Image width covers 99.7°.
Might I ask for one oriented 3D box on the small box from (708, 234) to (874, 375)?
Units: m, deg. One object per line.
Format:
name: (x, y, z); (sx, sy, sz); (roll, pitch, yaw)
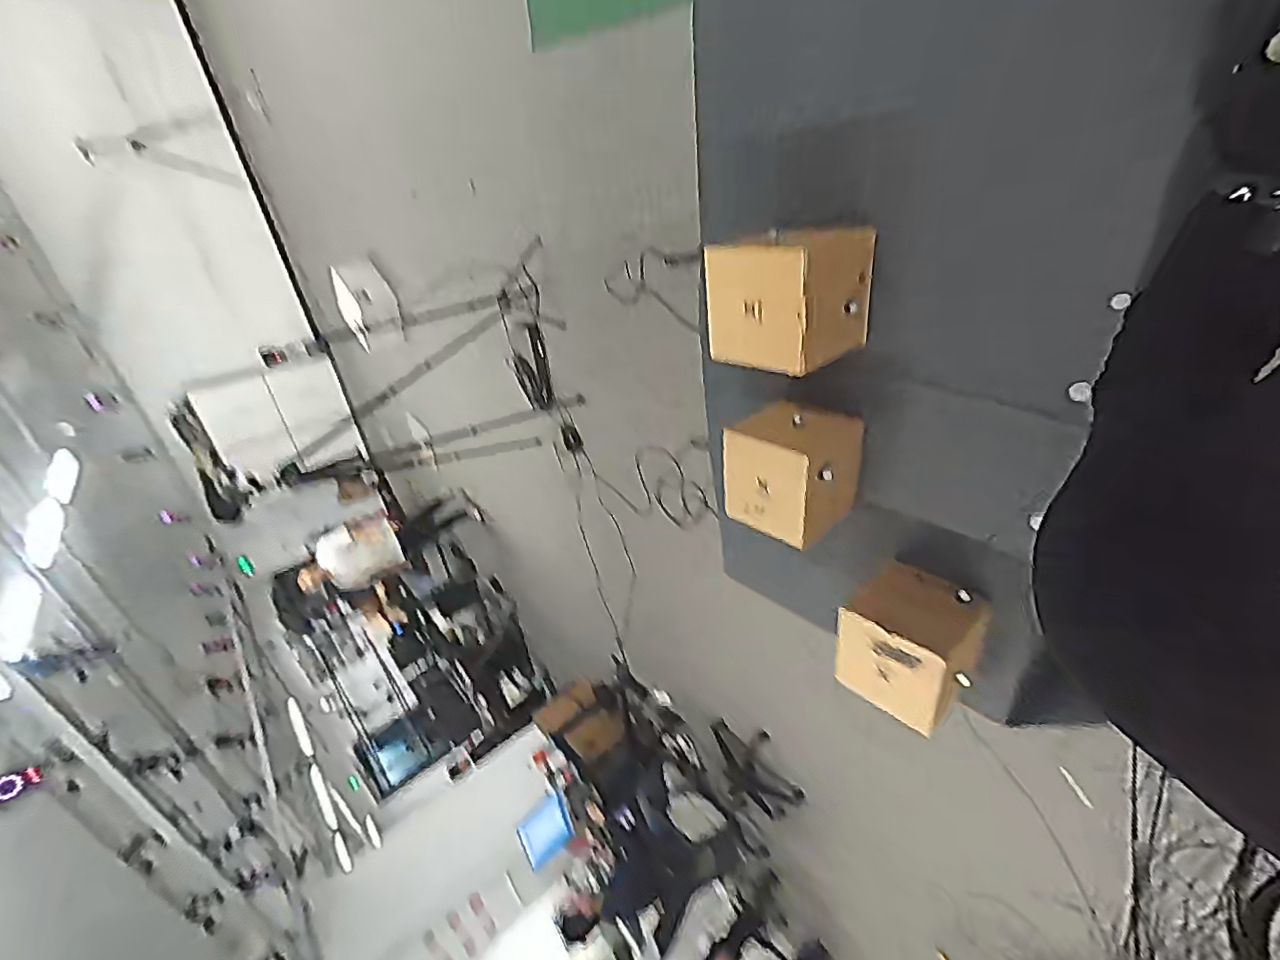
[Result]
small box: (0.225, -0.273, 0.823); (0.179, 0.176, 0.168); (23, 131, 44)

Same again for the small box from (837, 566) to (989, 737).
small box: (0.452, 0.273, 0.902); (0.168, 0.176, 0.179); (25, 132, 45)

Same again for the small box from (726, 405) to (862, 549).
small box: (0.268, -0.015, 0.947); (0.168, 0.176, 0.179); (25, 132, 43)
